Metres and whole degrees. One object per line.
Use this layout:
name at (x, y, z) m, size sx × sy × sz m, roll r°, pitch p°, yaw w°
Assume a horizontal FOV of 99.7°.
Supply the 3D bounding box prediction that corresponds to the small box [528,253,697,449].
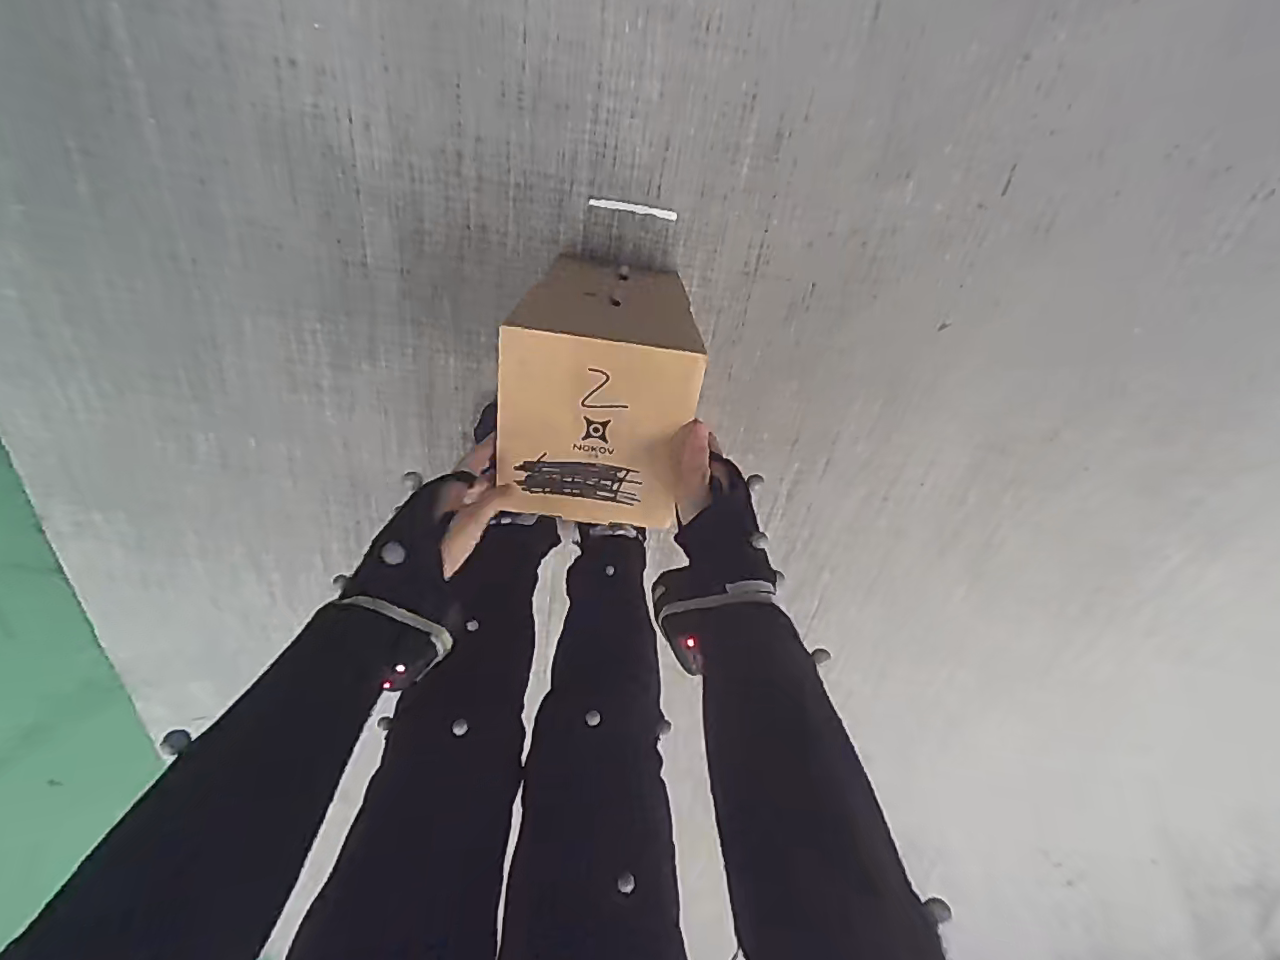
small box at (-0.036, -0.163, 0.662) m, size 0.168 × 0.176 × 0.179 m, roll 9°, pitch 123°, yaw -6°
